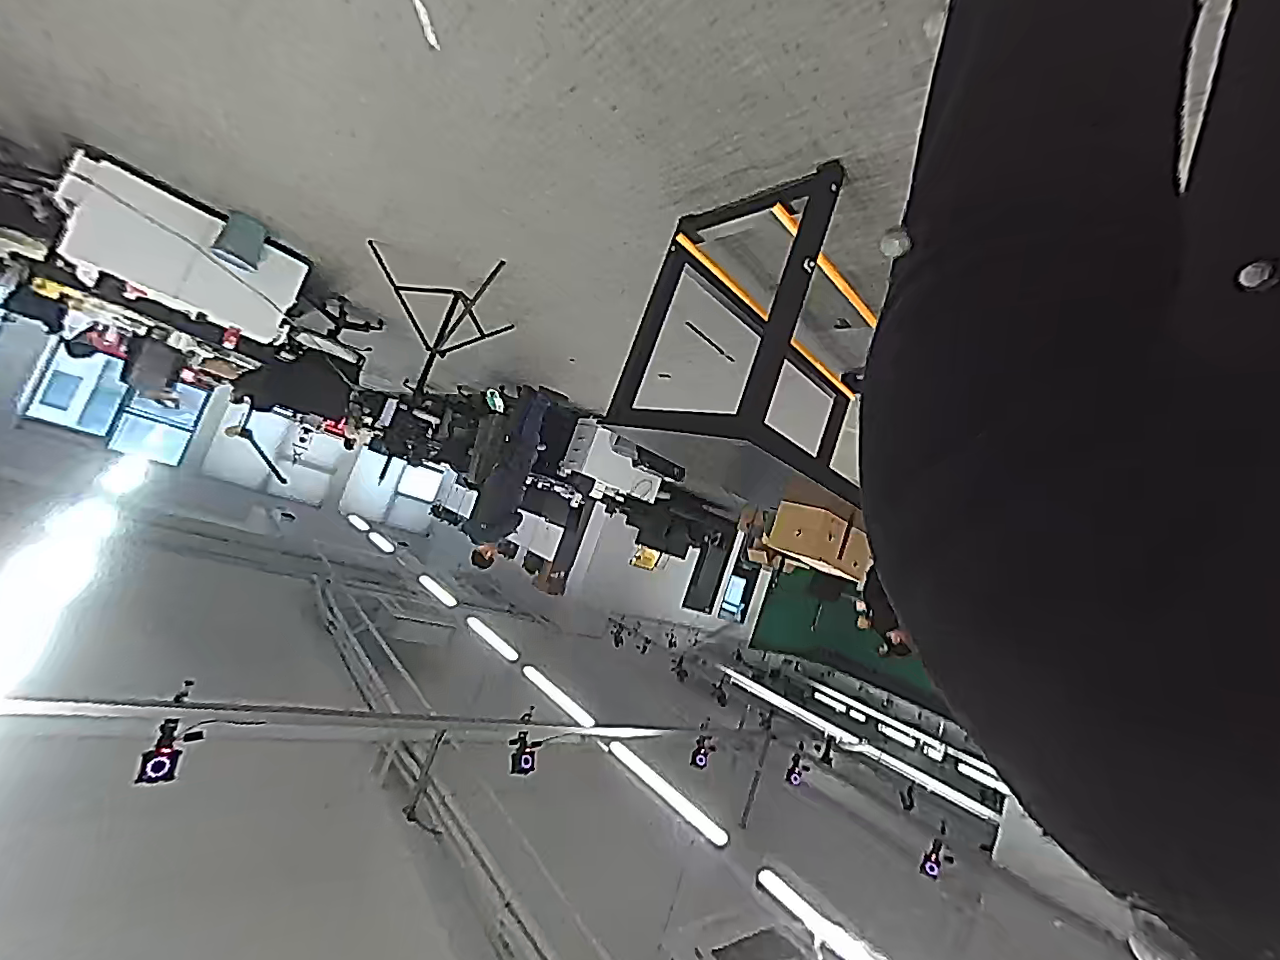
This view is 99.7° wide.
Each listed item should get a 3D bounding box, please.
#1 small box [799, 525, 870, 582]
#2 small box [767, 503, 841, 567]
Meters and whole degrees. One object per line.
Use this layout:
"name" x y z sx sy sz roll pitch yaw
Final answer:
"small box" 0.721 0.255 1.994 0.179 0.176 0.168 26 172 -37
"small box" 0.570 0.184 1.857 0.168 0.176 0.179 25 172 -40
